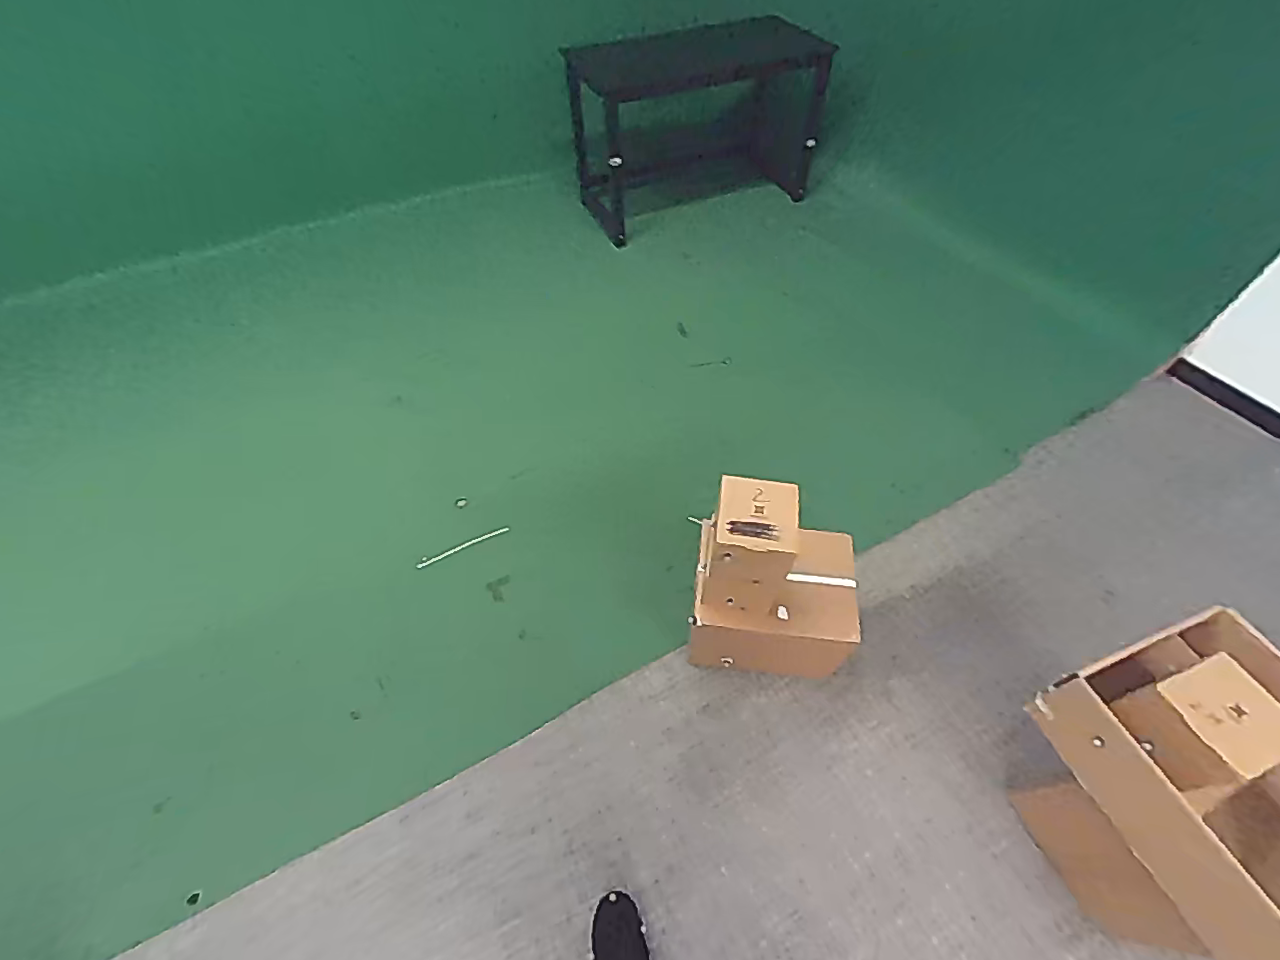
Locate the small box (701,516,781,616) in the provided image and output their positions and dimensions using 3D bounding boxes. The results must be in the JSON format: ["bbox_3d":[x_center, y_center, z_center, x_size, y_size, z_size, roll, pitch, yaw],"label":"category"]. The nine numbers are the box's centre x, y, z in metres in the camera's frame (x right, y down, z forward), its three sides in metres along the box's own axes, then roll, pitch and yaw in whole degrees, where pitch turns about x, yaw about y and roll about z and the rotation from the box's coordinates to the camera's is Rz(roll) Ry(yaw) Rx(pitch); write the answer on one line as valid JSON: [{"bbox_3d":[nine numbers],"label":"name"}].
[{"bbox_3d":[0.245,0.213,1.328,0.168,0.176,0.179,8,56,5],"label":"small box"}]
